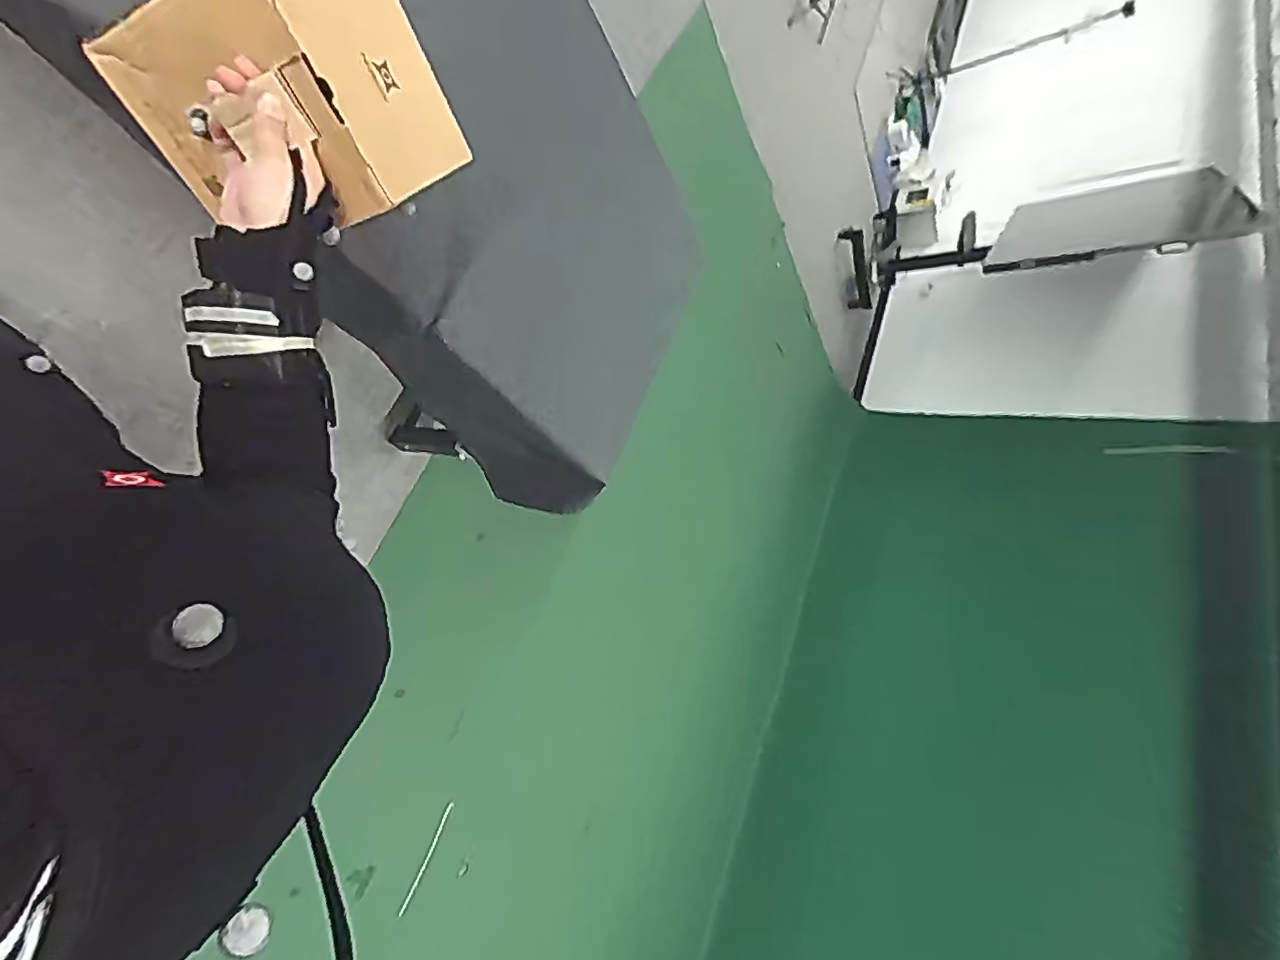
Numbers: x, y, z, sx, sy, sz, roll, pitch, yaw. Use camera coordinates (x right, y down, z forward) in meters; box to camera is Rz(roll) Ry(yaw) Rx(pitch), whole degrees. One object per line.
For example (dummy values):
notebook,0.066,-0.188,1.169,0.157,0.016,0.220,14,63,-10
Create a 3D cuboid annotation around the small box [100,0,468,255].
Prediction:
small box,-0.290,-0.325,0.474,0.179,0.176,0.168,-77,151,-45
